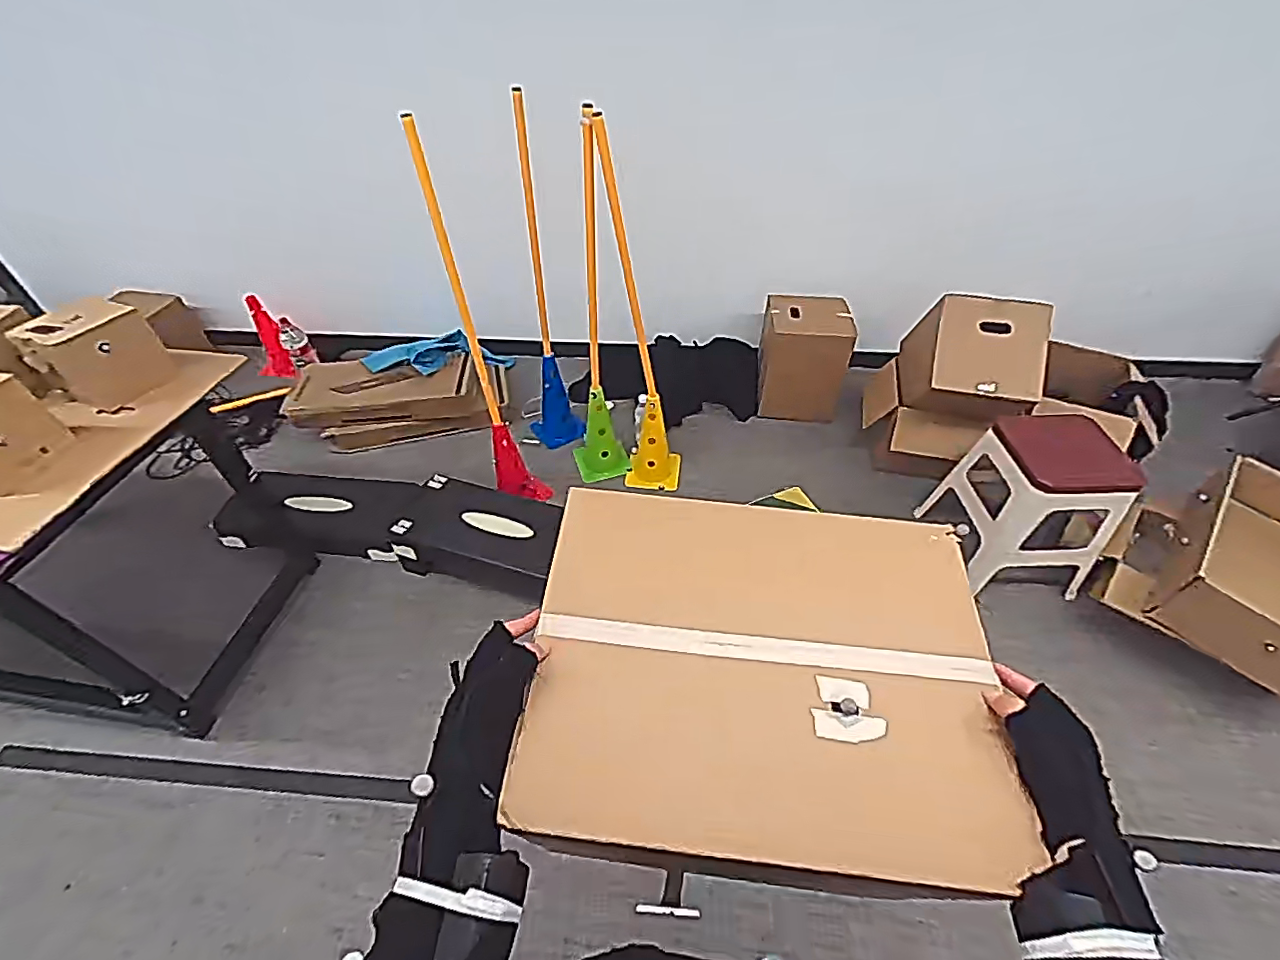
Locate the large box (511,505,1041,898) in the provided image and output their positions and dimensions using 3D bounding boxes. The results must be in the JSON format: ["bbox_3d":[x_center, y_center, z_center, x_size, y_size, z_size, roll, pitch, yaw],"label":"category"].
[{"bbox_3d":[0.106,0.254,0.607,0.408,0.320,0.320,6,54,3],"label":"large box"}]
